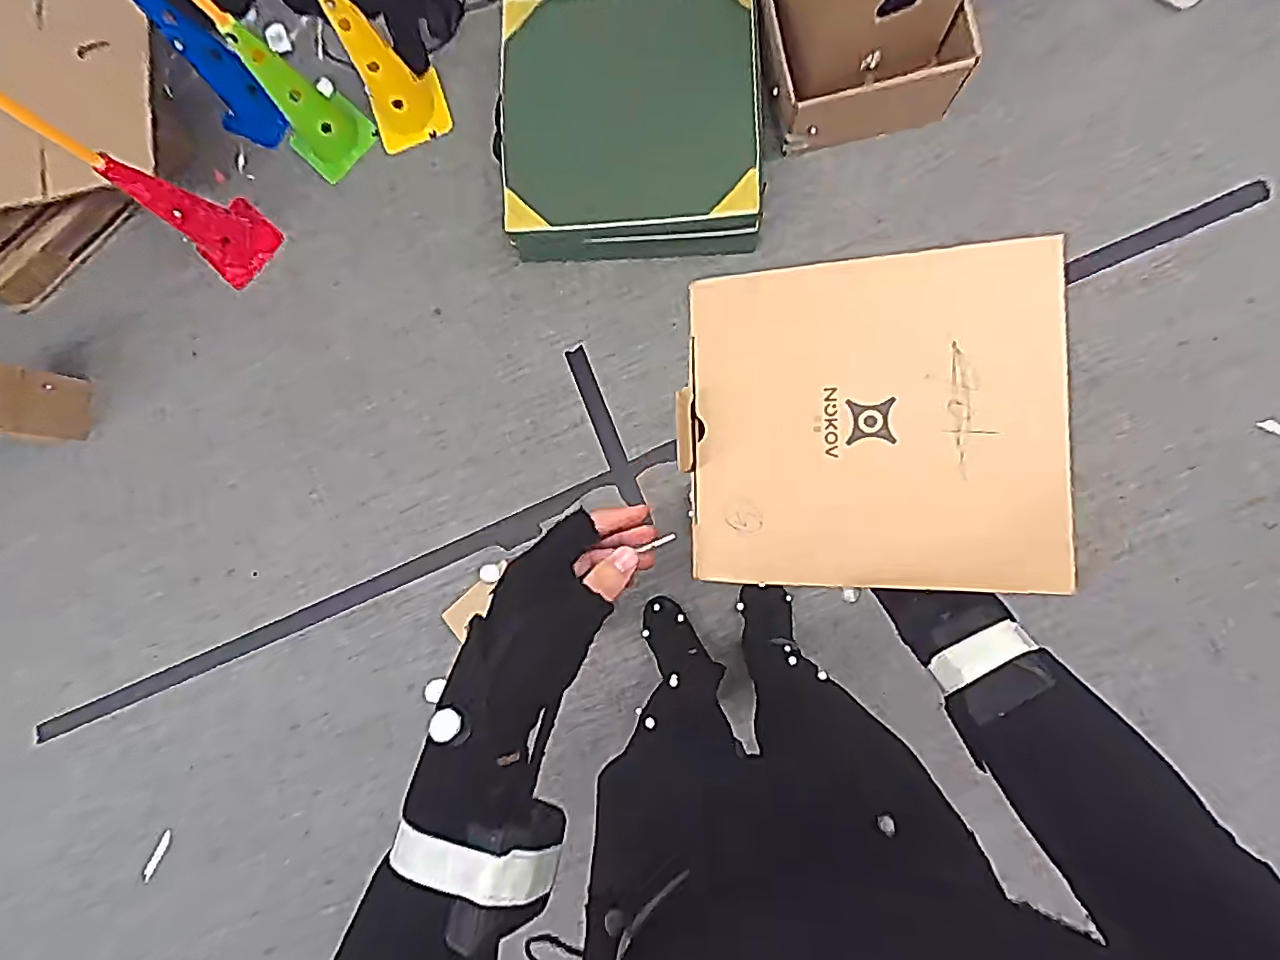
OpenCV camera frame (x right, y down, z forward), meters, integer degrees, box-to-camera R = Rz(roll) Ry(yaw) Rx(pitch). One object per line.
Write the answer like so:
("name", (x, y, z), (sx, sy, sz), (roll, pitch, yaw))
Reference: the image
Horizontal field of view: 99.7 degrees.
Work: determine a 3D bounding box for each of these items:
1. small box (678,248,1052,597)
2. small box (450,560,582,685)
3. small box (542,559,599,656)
("small box", (0.129, -0.024, 0.351), (0.179, 0.176, 0.168), (-1, 89, 17))
("small box", (-0.242, 0.276, 1.099), (0.168, 0.176, 0.179), (-38, 85, 5))
("small box", (-0.213, 0.296, 1.260), (0.168, 0.176, 0.179), (-25, 83, 5))
